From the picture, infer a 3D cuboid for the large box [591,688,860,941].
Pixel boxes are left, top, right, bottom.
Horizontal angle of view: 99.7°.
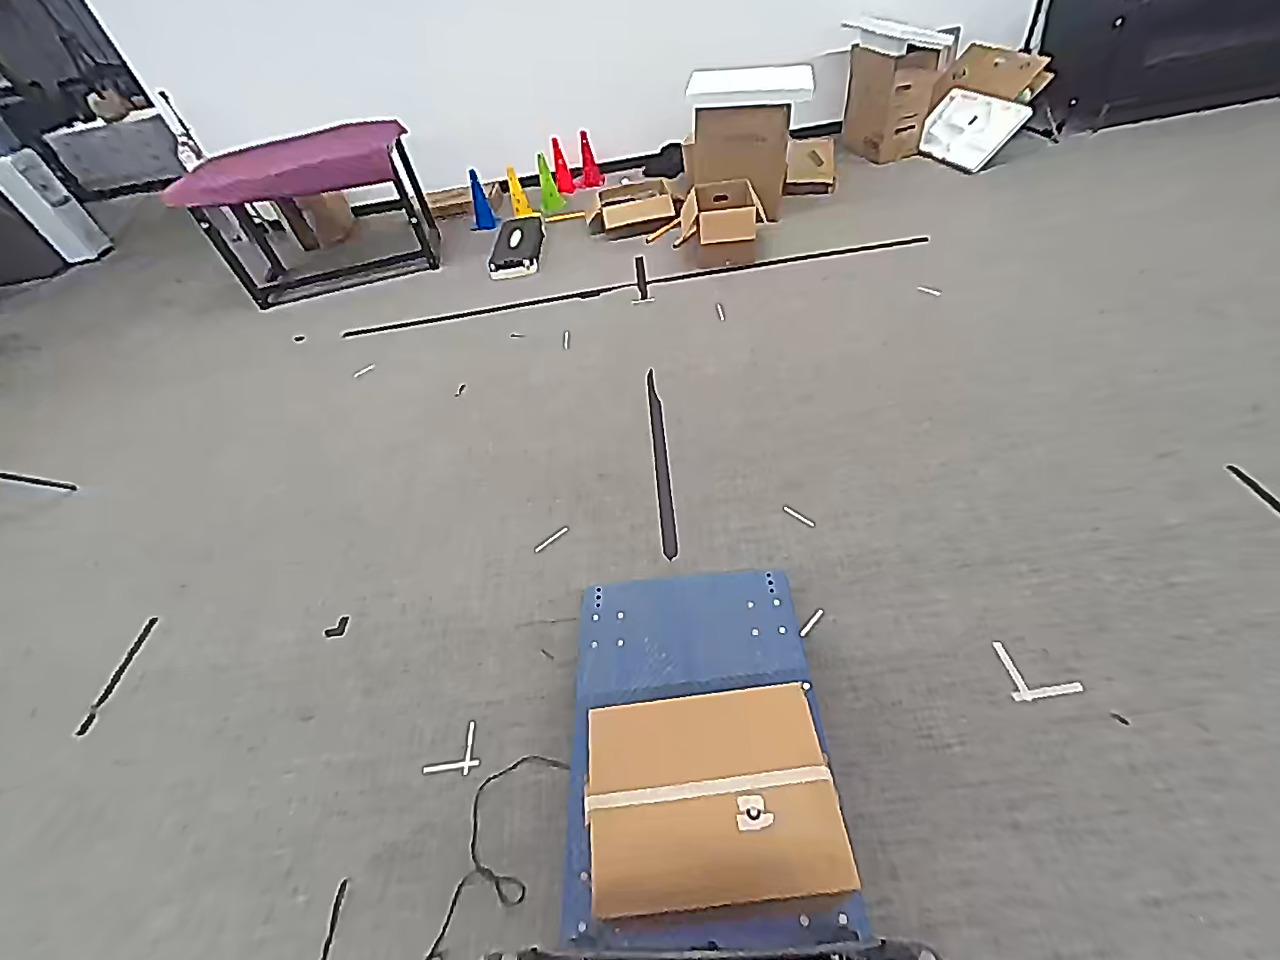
[{"bbox_3d":[0.134,0.629,1.014,0.408,0.320,0.320,-8,47,1],"label":"large box"}]
